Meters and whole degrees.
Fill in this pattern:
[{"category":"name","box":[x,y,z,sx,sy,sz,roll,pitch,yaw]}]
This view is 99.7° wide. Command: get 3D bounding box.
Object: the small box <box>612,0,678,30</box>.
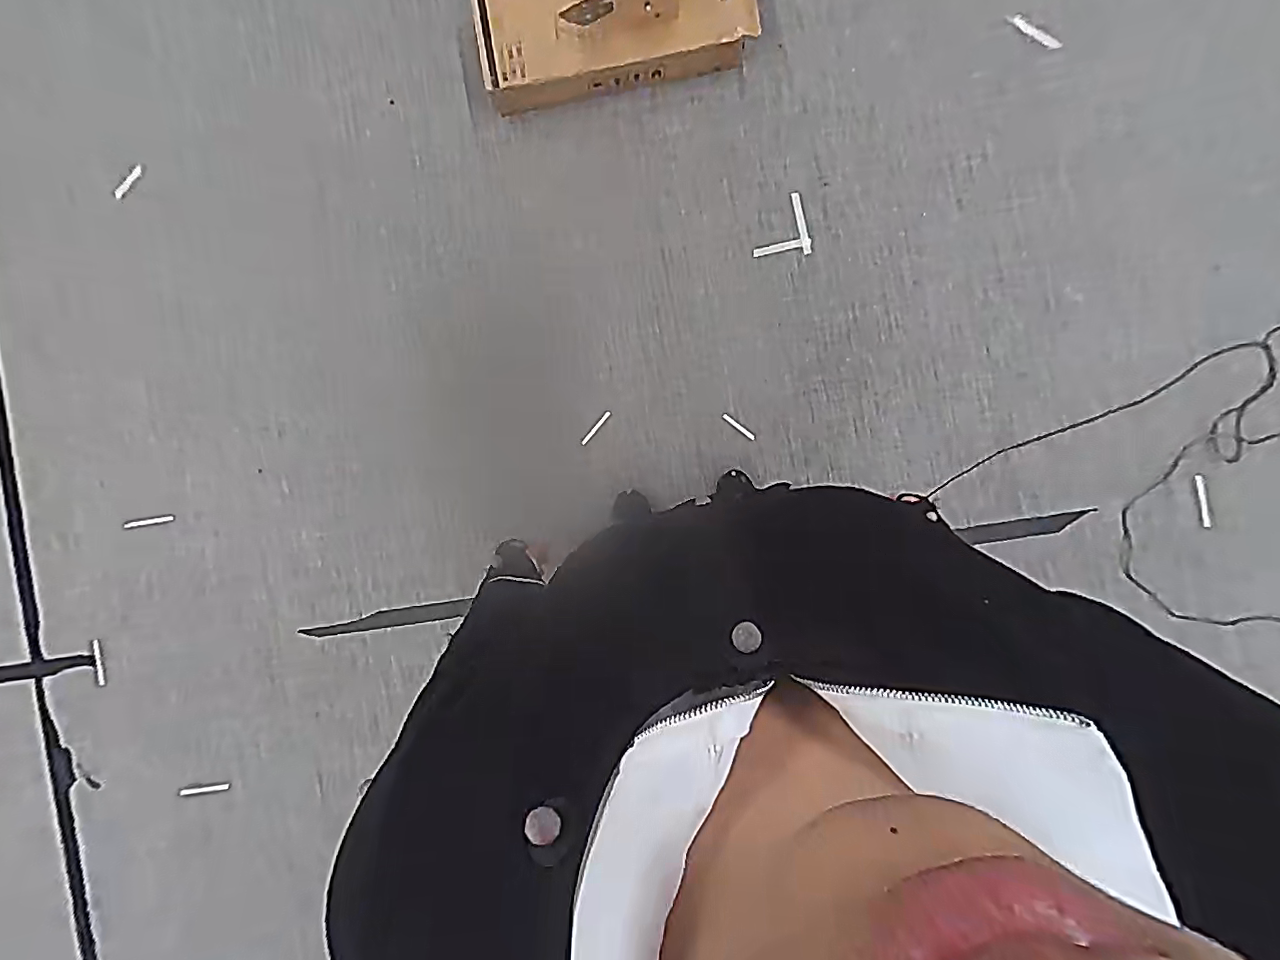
[{"category":"small box","box":[0.001,-1.276,1.334,0.168,0.176,0.179,-11,88,4]}]
